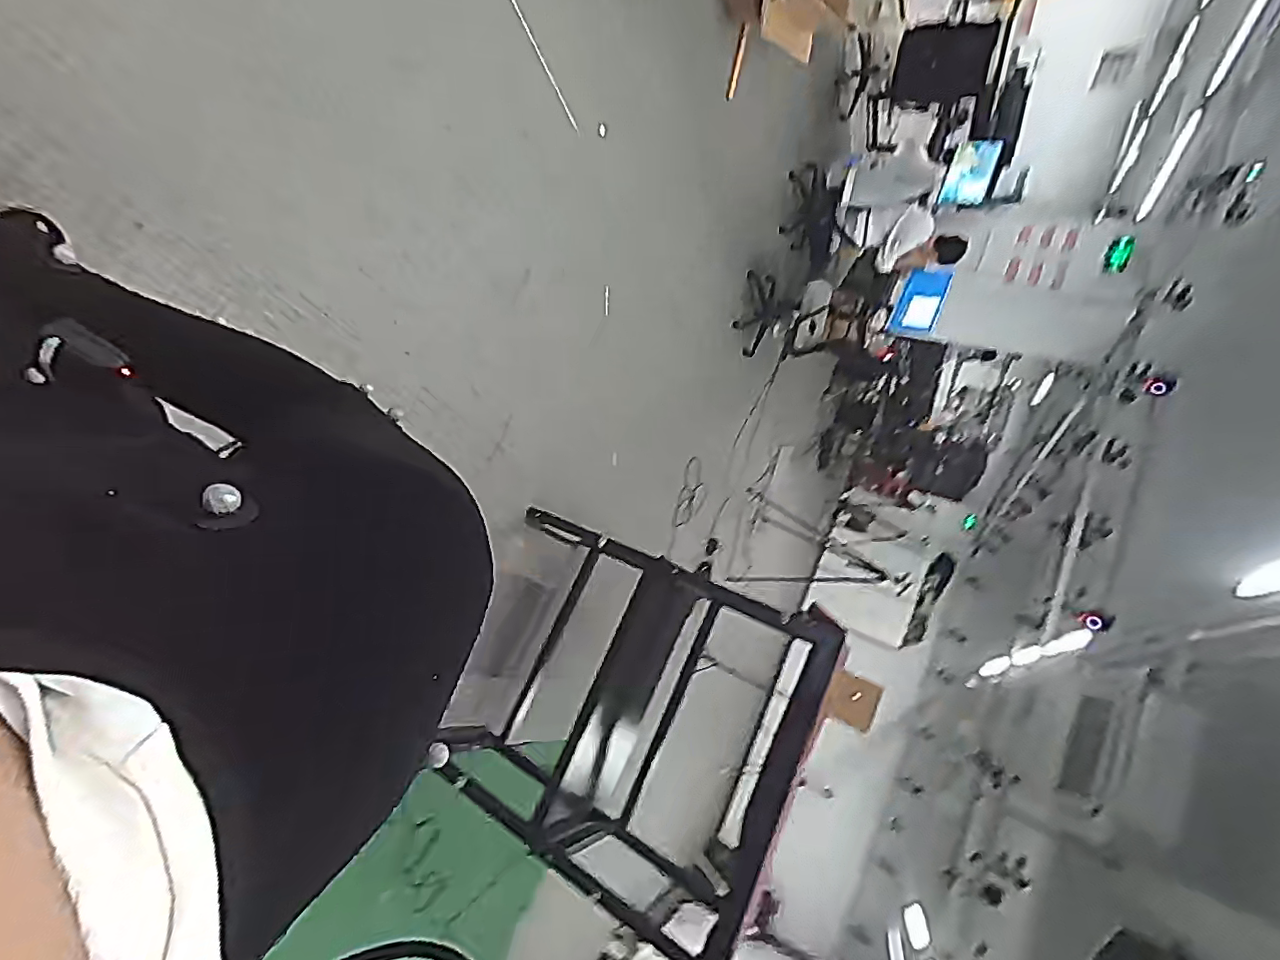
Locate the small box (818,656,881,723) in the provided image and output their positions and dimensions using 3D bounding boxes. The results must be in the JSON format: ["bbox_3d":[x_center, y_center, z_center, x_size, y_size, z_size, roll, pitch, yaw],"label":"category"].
[{"bbox_3d":[0.755,0.755,1.953,0.179,0.176,0.168,-64,152,-13],"label":"small box"}]
